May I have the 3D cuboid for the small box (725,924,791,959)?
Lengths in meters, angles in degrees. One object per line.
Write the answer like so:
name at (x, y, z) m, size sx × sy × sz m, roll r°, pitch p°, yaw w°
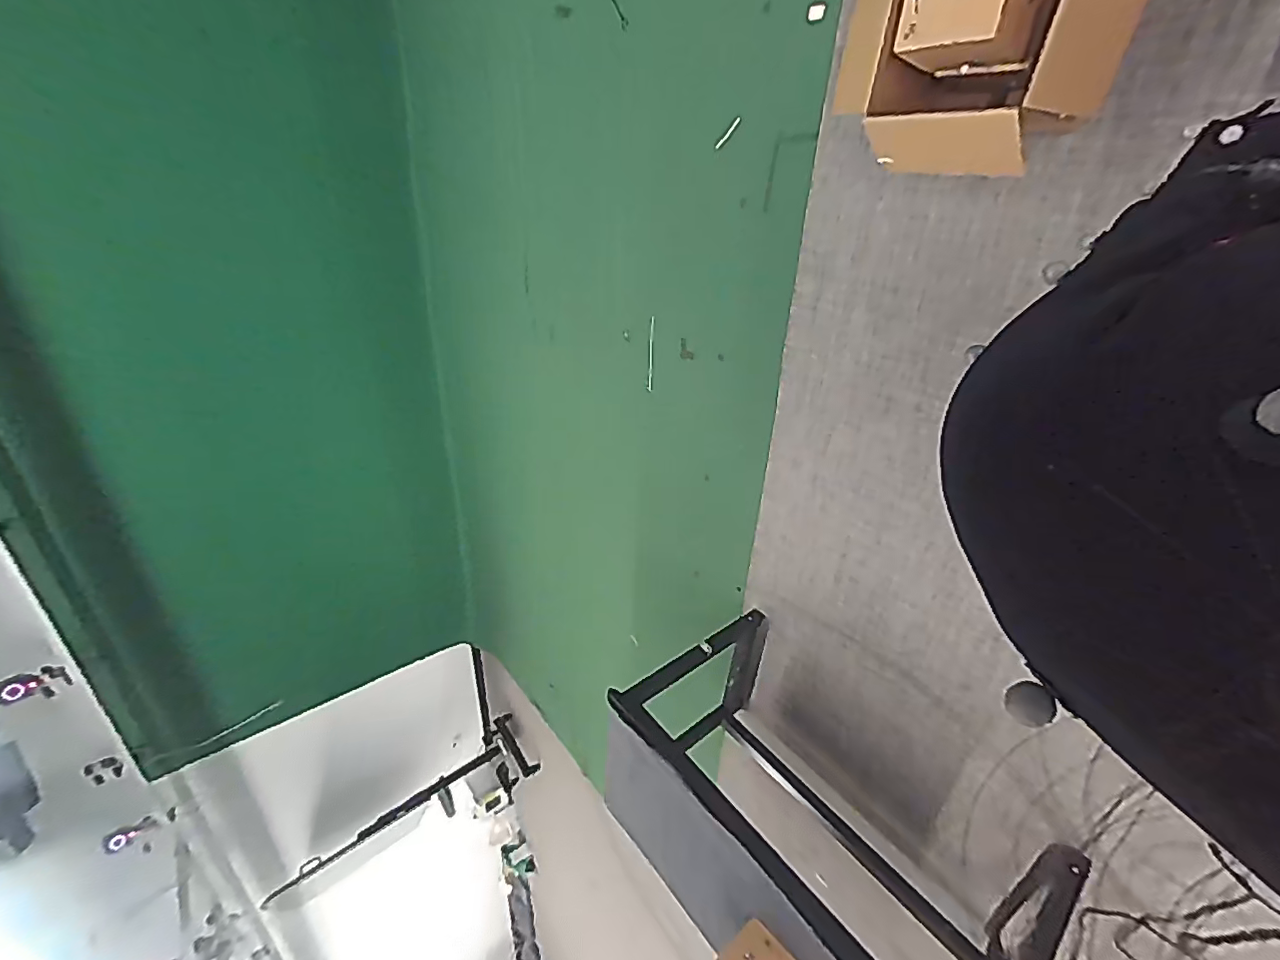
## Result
small box at (0.304, 1.288, 1.361) m, size 0.168 × 0.176 × 0.179 m, roll 22°, pitch 122°, yaw 48°
